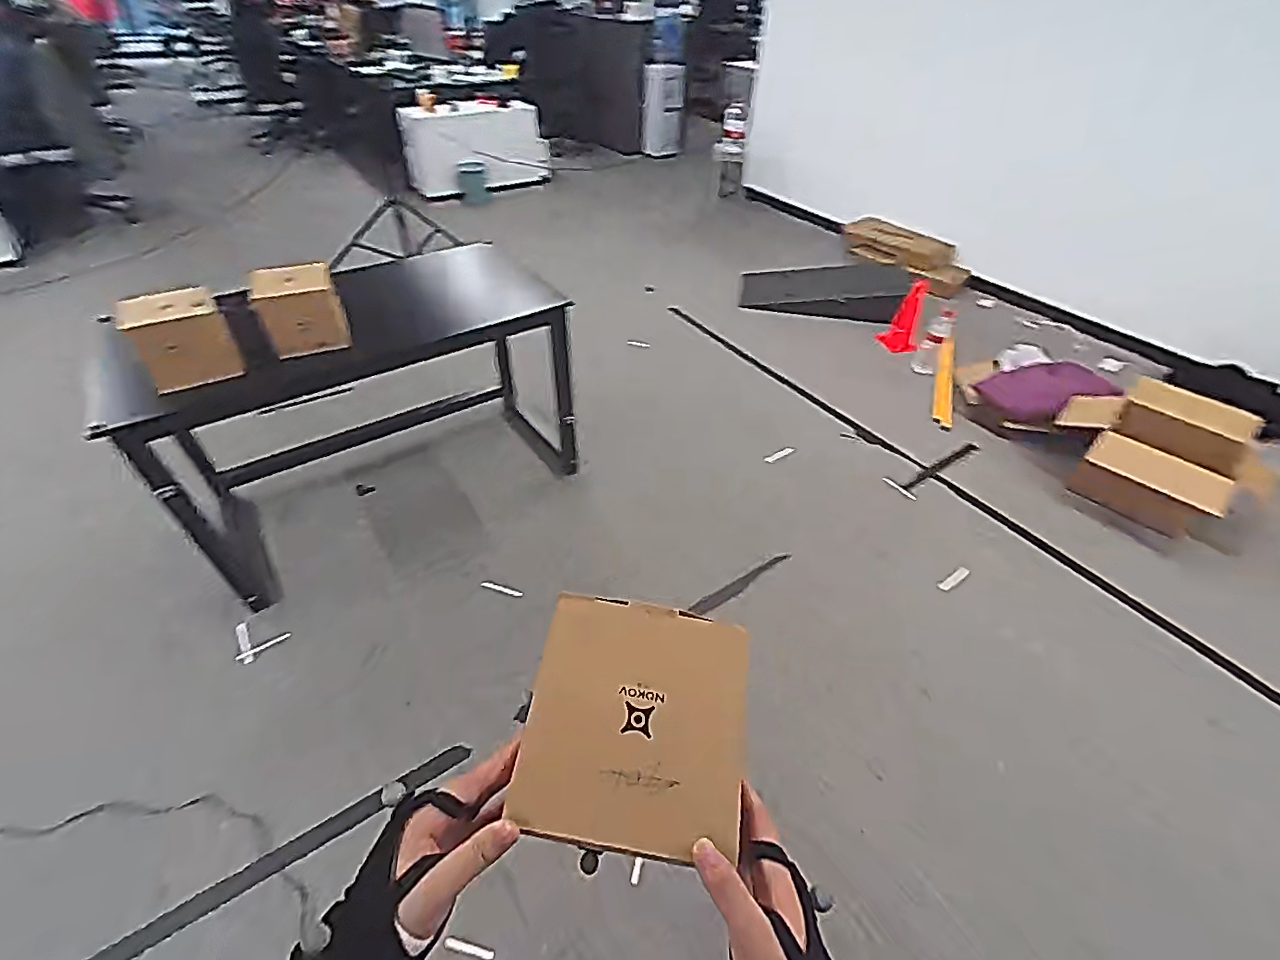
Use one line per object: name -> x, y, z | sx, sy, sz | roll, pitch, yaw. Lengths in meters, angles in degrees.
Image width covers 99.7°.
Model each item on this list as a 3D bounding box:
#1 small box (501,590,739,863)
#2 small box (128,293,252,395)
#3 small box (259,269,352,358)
small box -> -0.015, 0.223, 0.483 | 0.168, 0.176, 0.179 | 10, 55, -1
small box -> -1.088, -0.329, 1.315 | 0.179, 0.176, 0.168 | -24, 49, -25
small box -> -0.882, -0.437, 1.439 | 0.168, 0.176, 0.179 | -16, 45, -19
